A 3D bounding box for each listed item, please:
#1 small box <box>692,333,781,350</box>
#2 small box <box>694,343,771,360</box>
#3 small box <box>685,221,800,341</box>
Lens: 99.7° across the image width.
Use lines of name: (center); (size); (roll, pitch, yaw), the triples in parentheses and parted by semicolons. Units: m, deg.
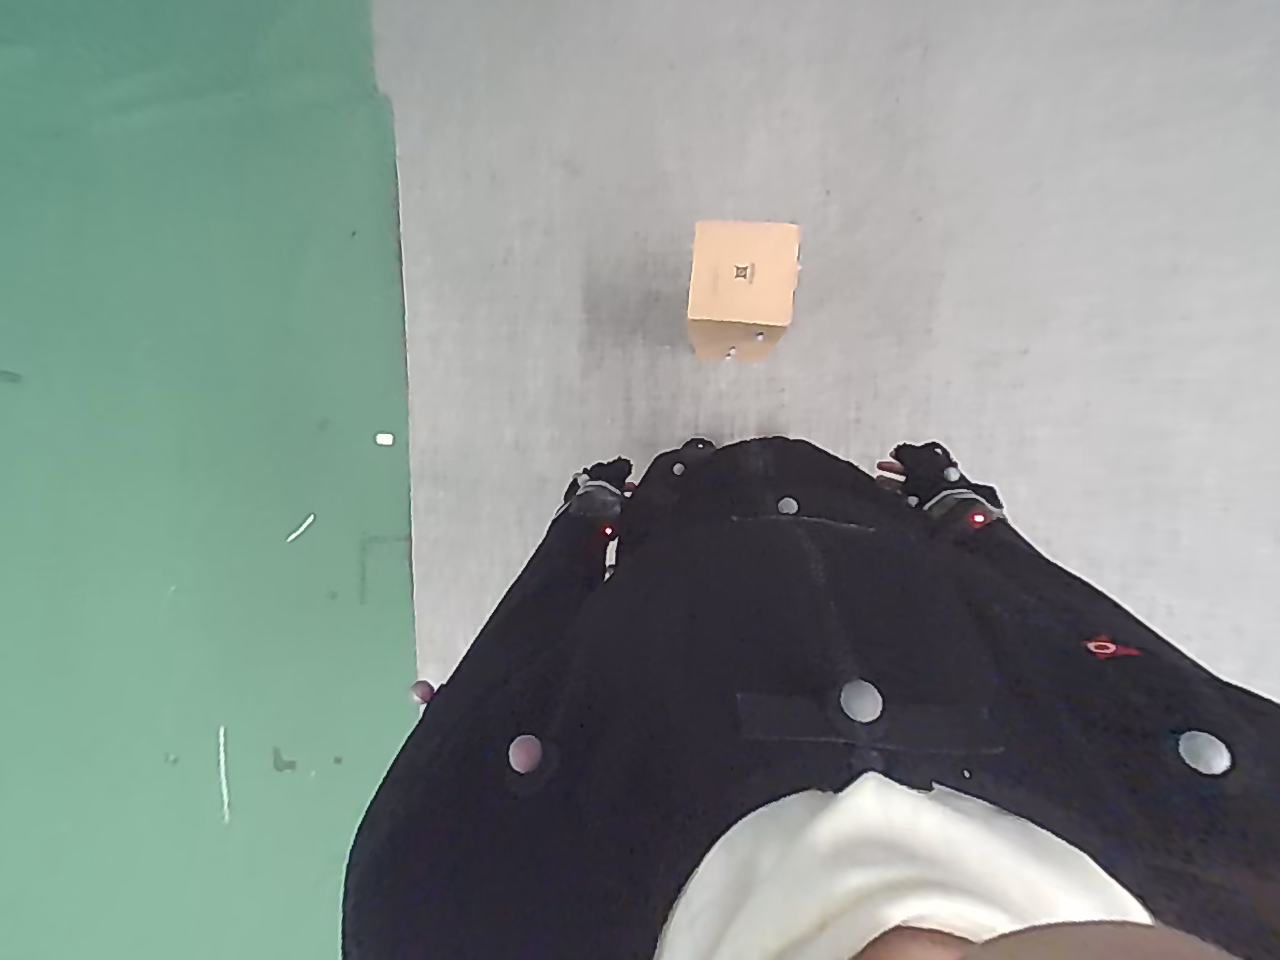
small box: (0.205, -0.369, 1.141); (0.179, 0.176, 0.168); (4, 97, 8)
small box: (0.227, -0.386, 1.300); (0.179, 0.176, 0.168); (6, 96, 8)
small box: (0.181, -0.351, 0.979); (0.179, 0.176, 0.168); (6, 95, 8)
